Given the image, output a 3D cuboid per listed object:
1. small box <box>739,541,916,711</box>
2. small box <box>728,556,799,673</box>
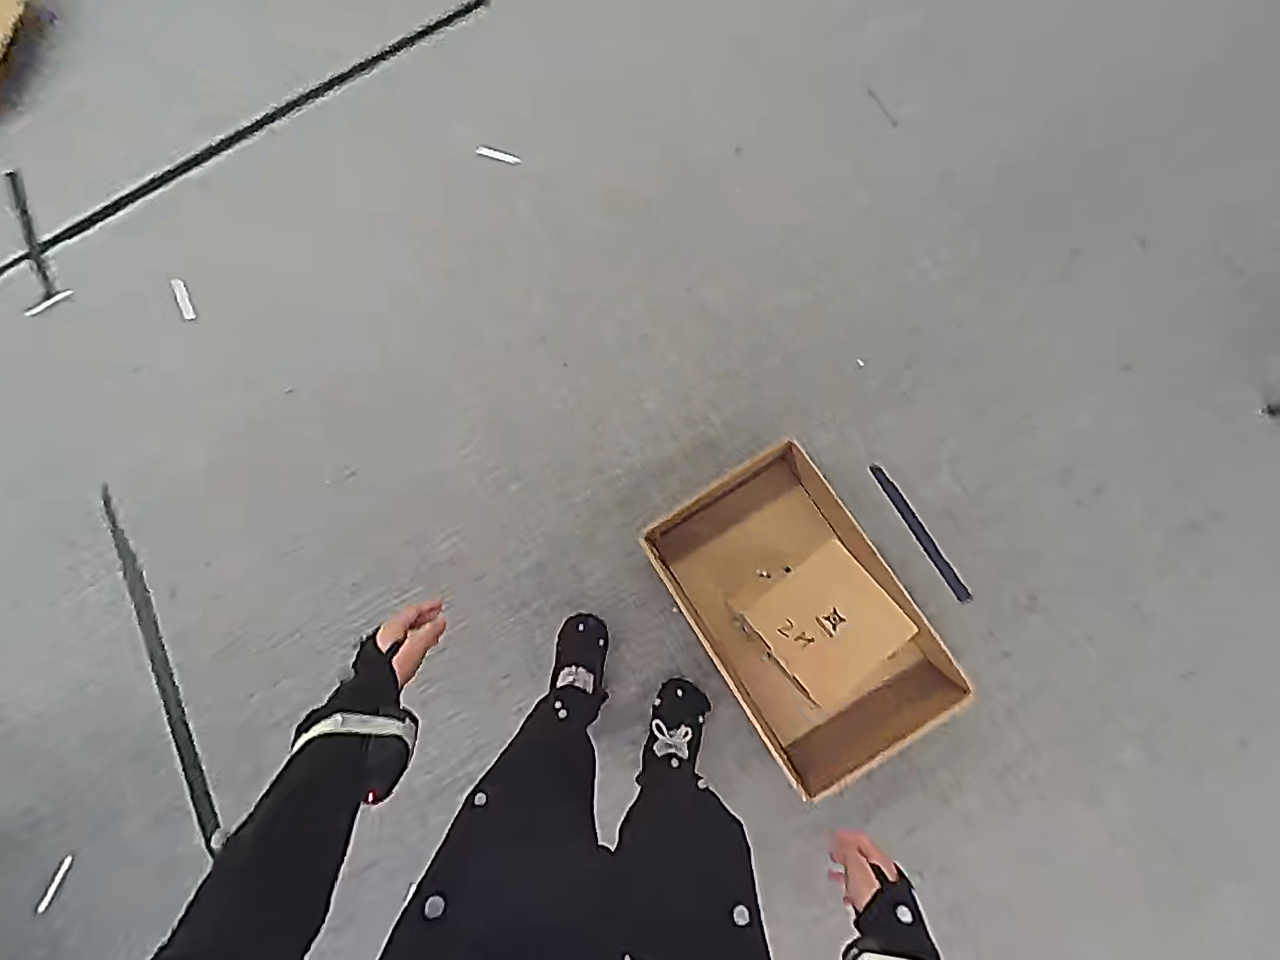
[{"bbox_3d":[0.270,0.215,0.827,0.179,0.176,0.168,-39,77,-3],"label":"small box"},{"bbox_3d":[0.301,0.278,1.149,0.179,0.176,0.168,-37,77,-1],"label":"small box"}]
